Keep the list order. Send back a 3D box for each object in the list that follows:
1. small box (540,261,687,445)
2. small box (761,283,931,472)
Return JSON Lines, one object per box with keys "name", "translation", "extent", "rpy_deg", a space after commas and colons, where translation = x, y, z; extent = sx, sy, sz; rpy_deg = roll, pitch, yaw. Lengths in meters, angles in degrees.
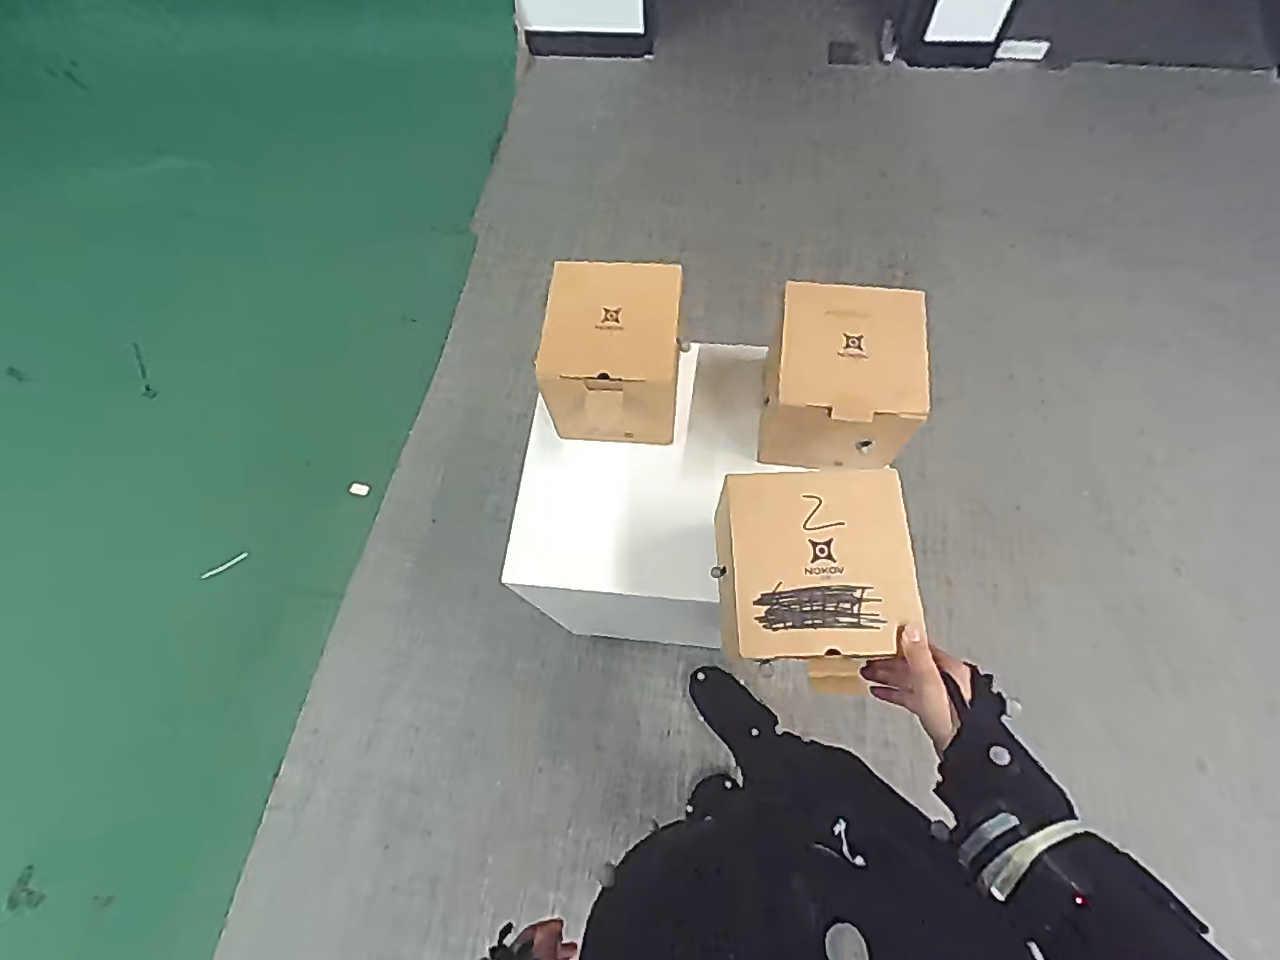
{"name": "small box", "translation": [-0.026, -0.166, 0.732], "extent": [0.168, 0.176, 0.179], "rpy_deg": [4, 70, 5]}
{"name": "small box", "translation": [0.253, -0.123, 0.695], "extent": [0.168, 0.176, 0.179], "rpy_deg": [7, 68, 6]}
